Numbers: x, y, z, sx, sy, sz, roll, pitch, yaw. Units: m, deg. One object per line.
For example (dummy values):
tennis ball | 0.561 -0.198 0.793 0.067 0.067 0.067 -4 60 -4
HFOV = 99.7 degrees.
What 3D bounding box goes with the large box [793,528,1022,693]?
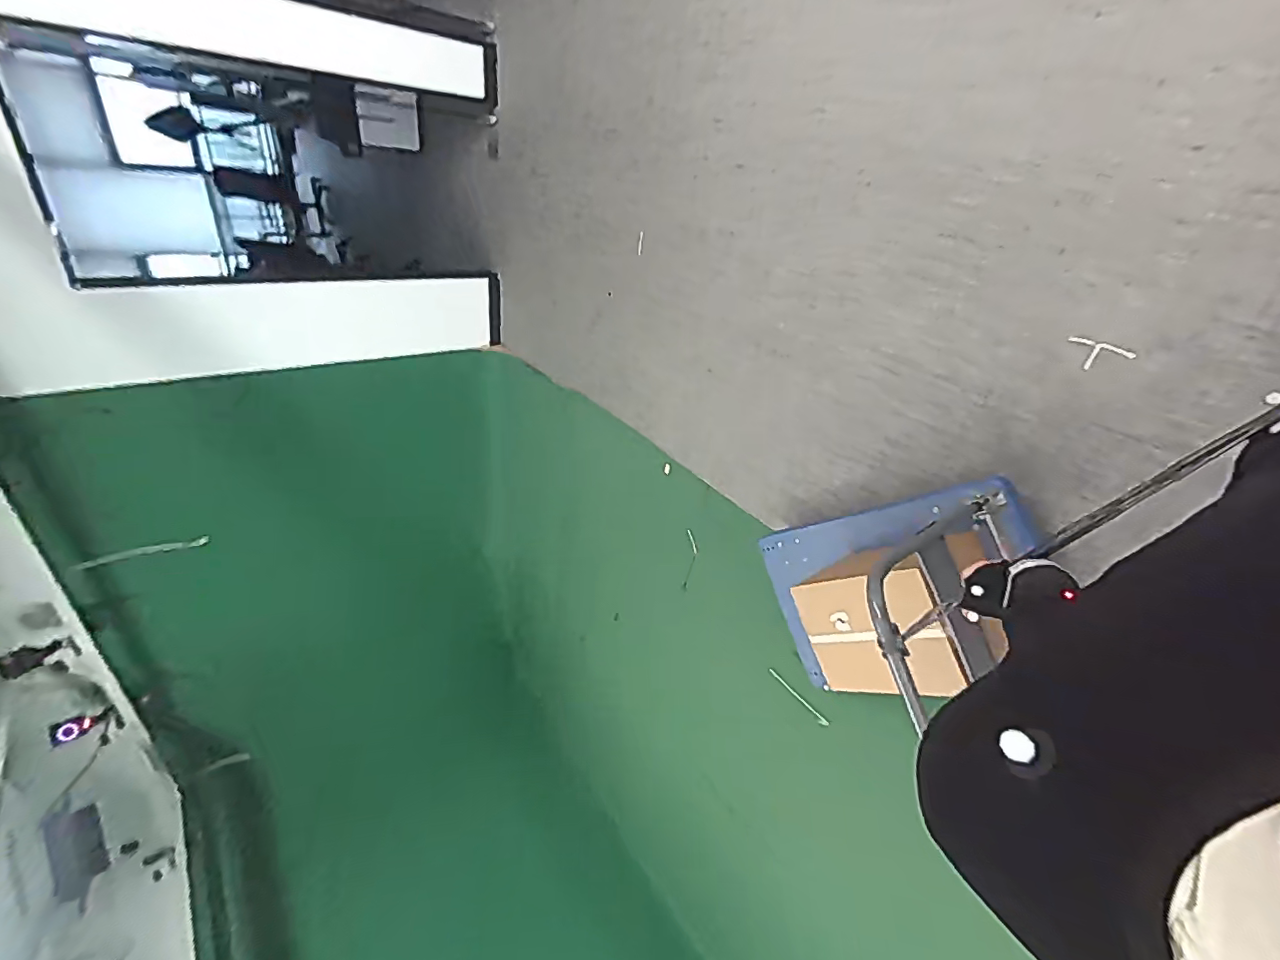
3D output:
large box | 0.707 0.352 1.461 0.408 0.320 0.320 -28 81 55
